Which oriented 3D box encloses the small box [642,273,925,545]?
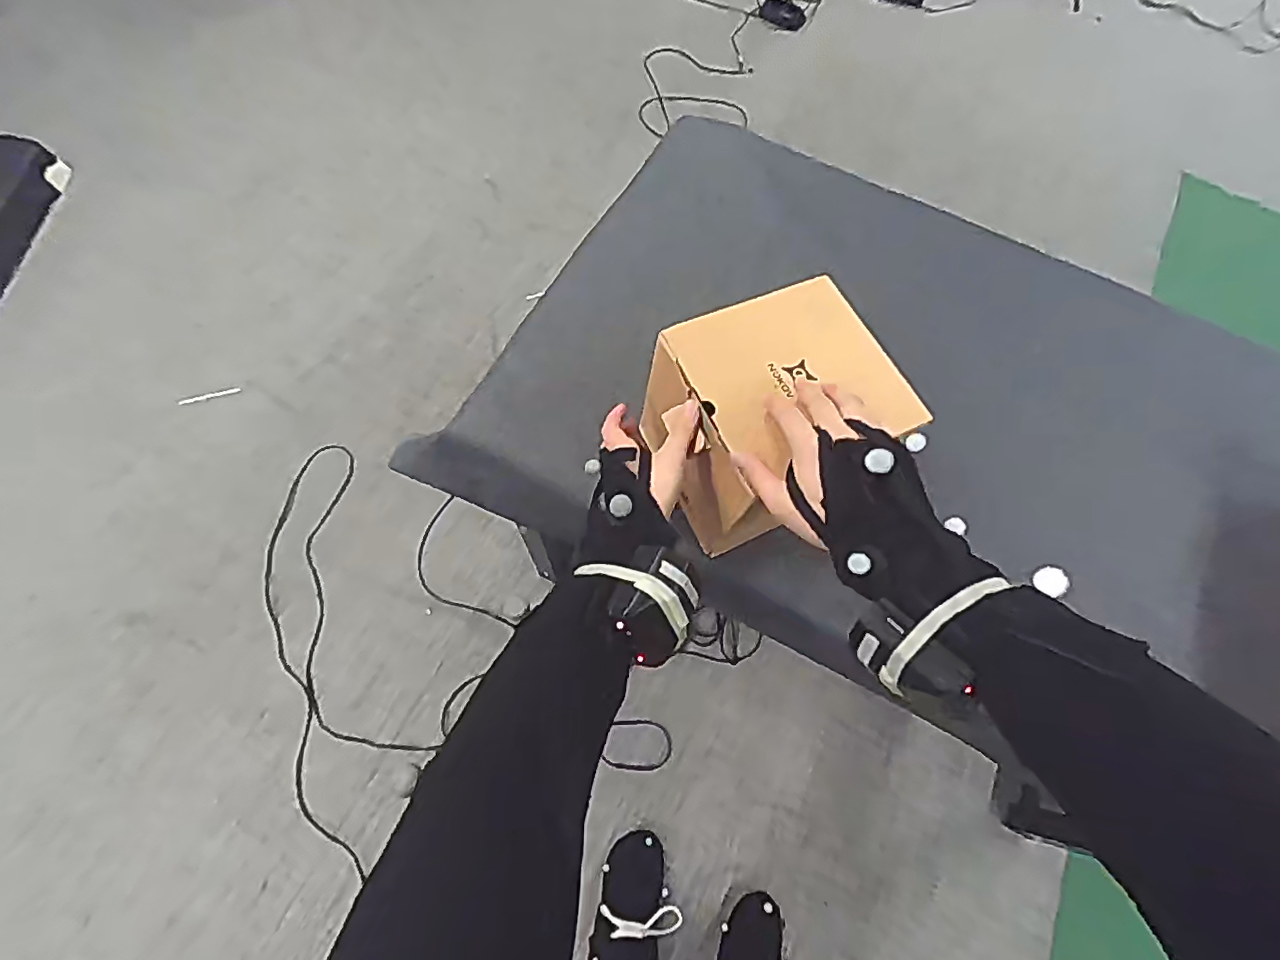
[{"bbox_3d":[0.116,-0.058,0.517,0.179,0.176,0.168,-22,72,-13],"label":"small box"}]
